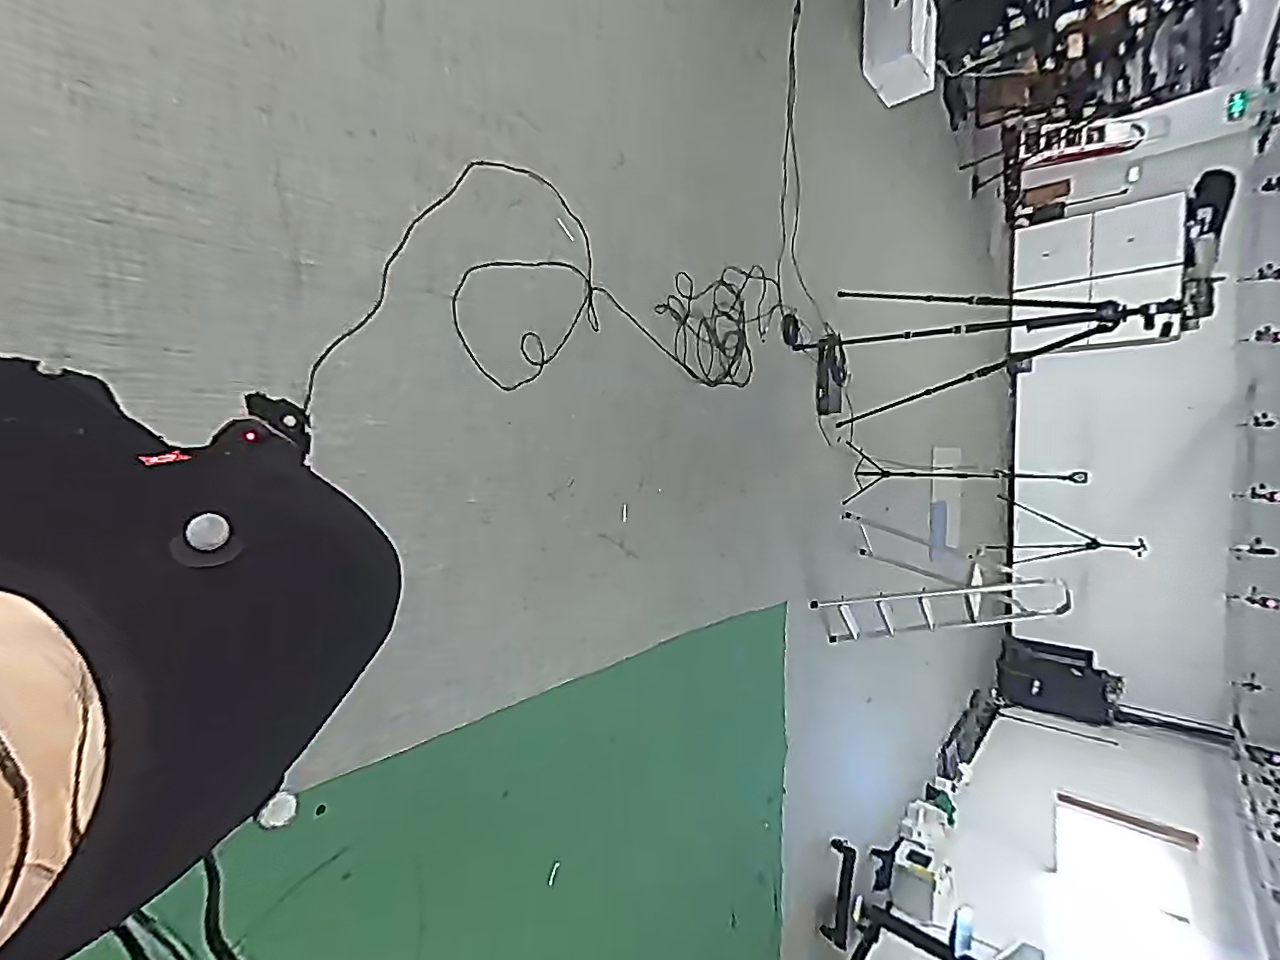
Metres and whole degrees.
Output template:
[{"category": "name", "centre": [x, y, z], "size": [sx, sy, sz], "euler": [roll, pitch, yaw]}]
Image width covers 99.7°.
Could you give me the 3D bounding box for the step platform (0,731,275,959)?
[{"category": "step platform", "centre": [-0.971, 0.645, 0.803], "size": [0.684, 0.204, 0.286], "euler": [-4, 94, -48]}]
